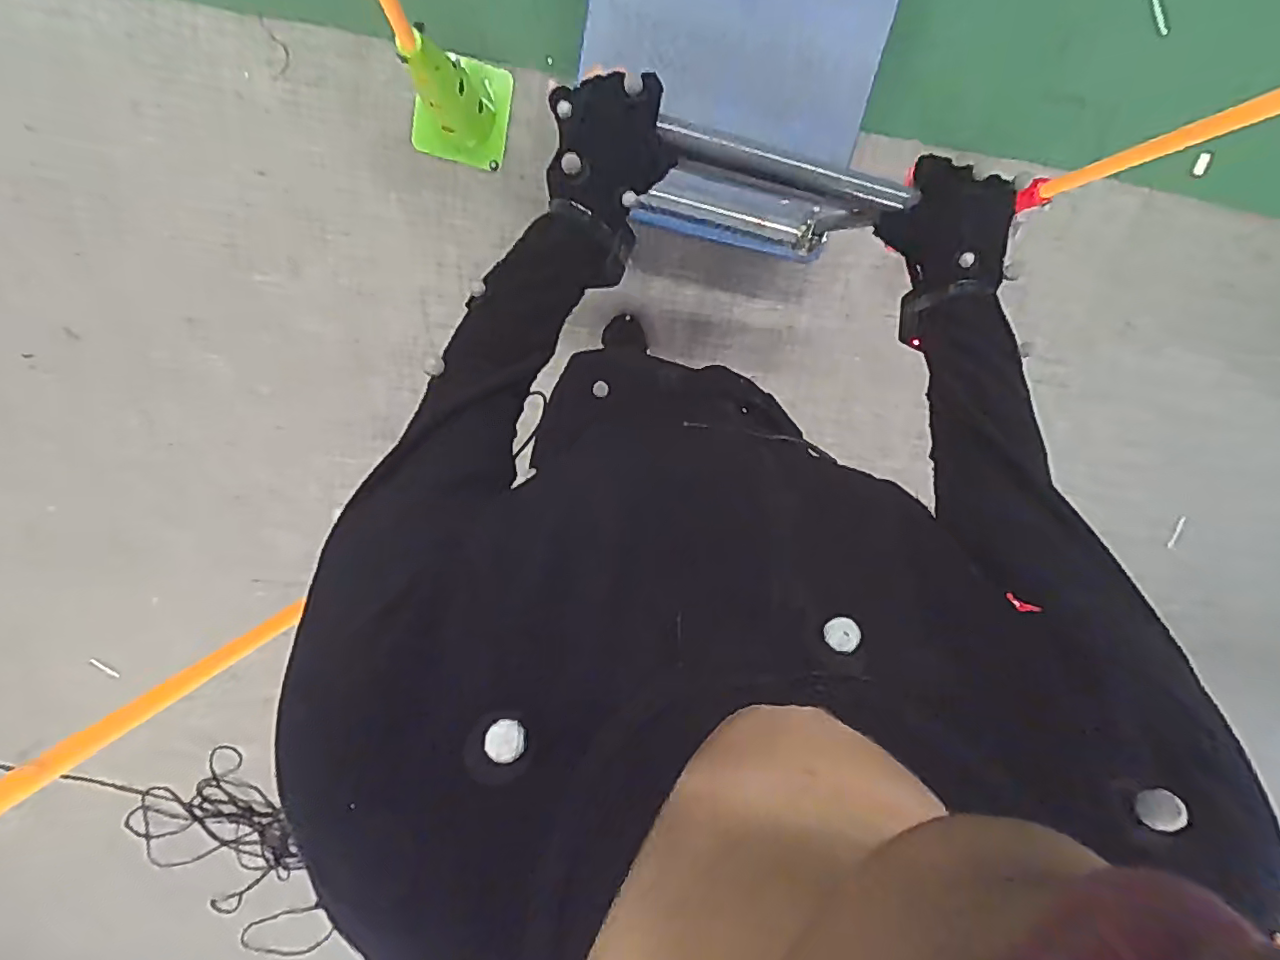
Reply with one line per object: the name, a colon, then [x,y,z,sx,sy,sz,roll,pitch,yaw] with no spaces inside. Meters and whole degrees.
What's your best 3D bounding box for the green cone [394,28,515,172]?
green cone: [-0.379,-0.761,1.037,0.202,0.368,0.200,12,107,-7]
